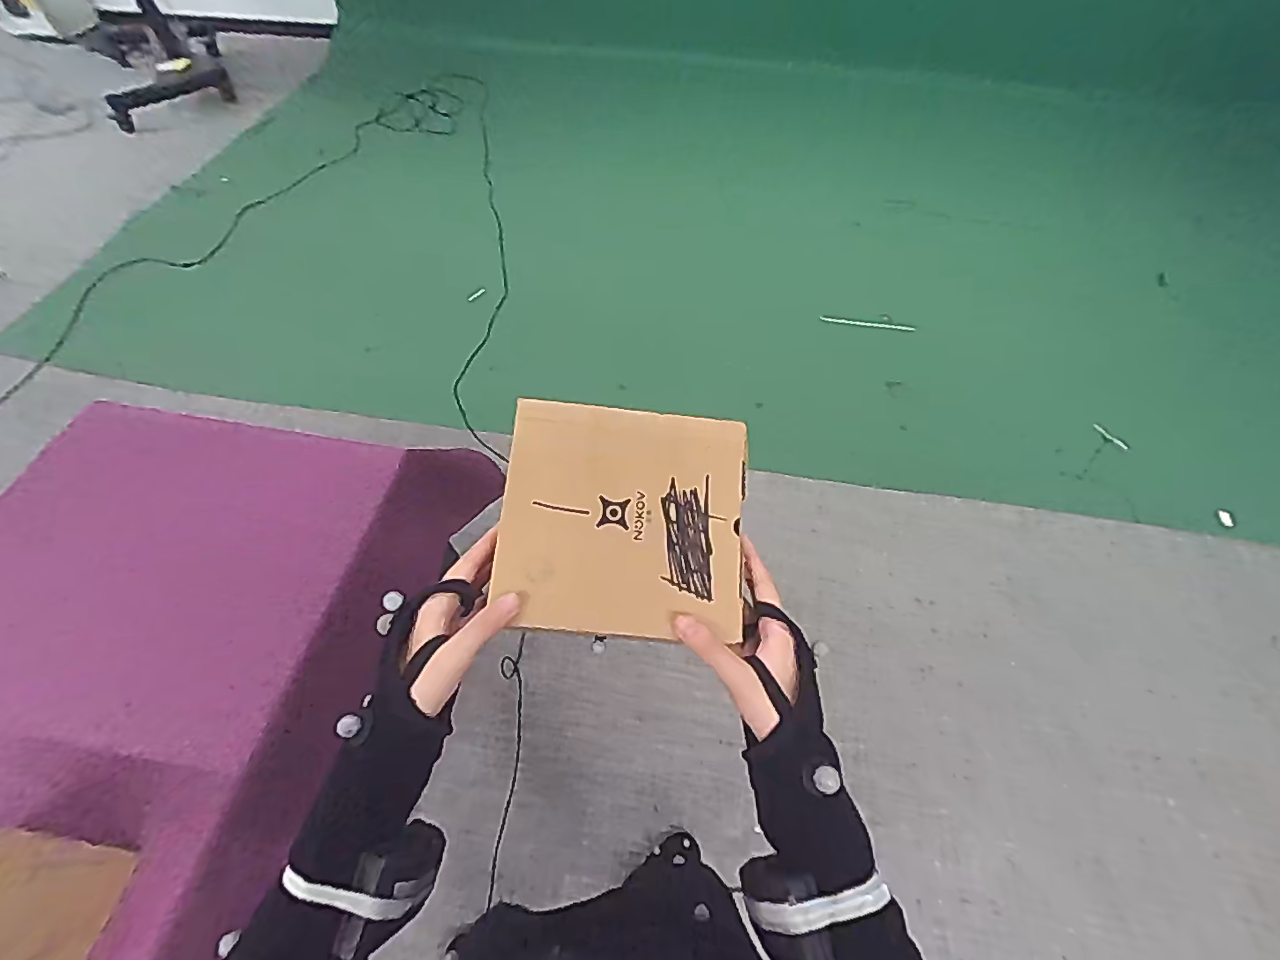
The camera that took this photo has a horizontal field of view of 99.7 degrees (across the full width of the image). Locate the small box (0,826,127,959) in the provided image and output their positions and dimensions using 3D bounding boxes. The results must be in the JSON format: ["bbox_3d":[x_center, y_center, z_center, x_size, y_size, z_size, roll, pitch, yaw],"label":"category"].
[{"bbox_3d":[-0.656,0.438,0.501,0.168,0.176,0.179,8,57,6],"label":"small box"}]
